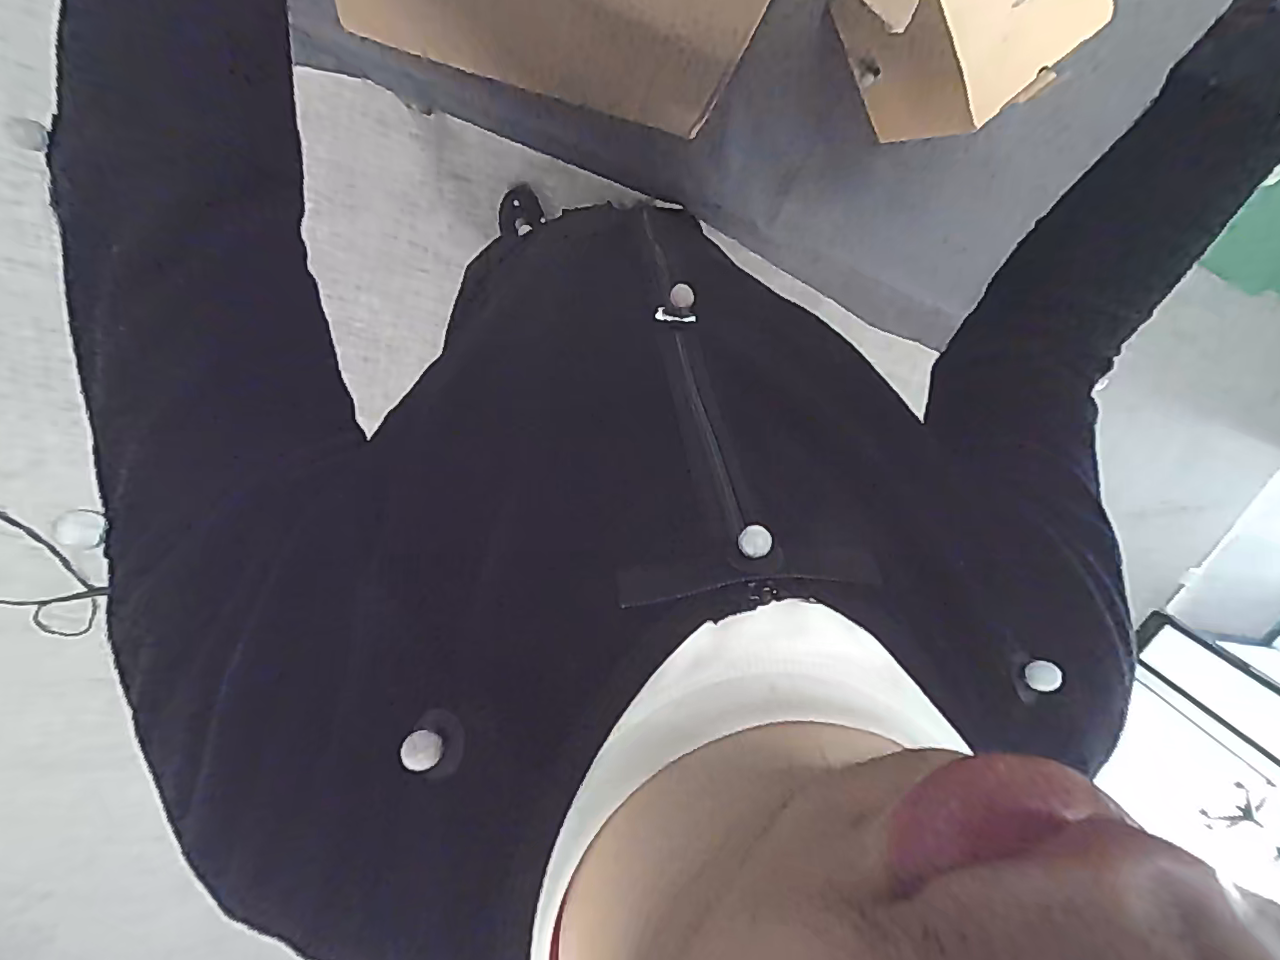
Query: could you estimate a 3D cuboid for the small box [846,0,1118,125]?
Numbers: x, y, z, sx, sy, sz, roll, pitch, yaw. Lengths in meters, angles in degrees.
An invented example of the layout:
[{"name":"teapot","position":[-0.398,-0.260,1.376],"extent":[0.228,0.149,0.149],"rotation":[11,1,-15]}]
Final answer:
[{"name":"small box","position":[0.356,-0.521,0.584],"extent":[0.168,0.176,0.179],"rotation":[-36,121,9]}]
